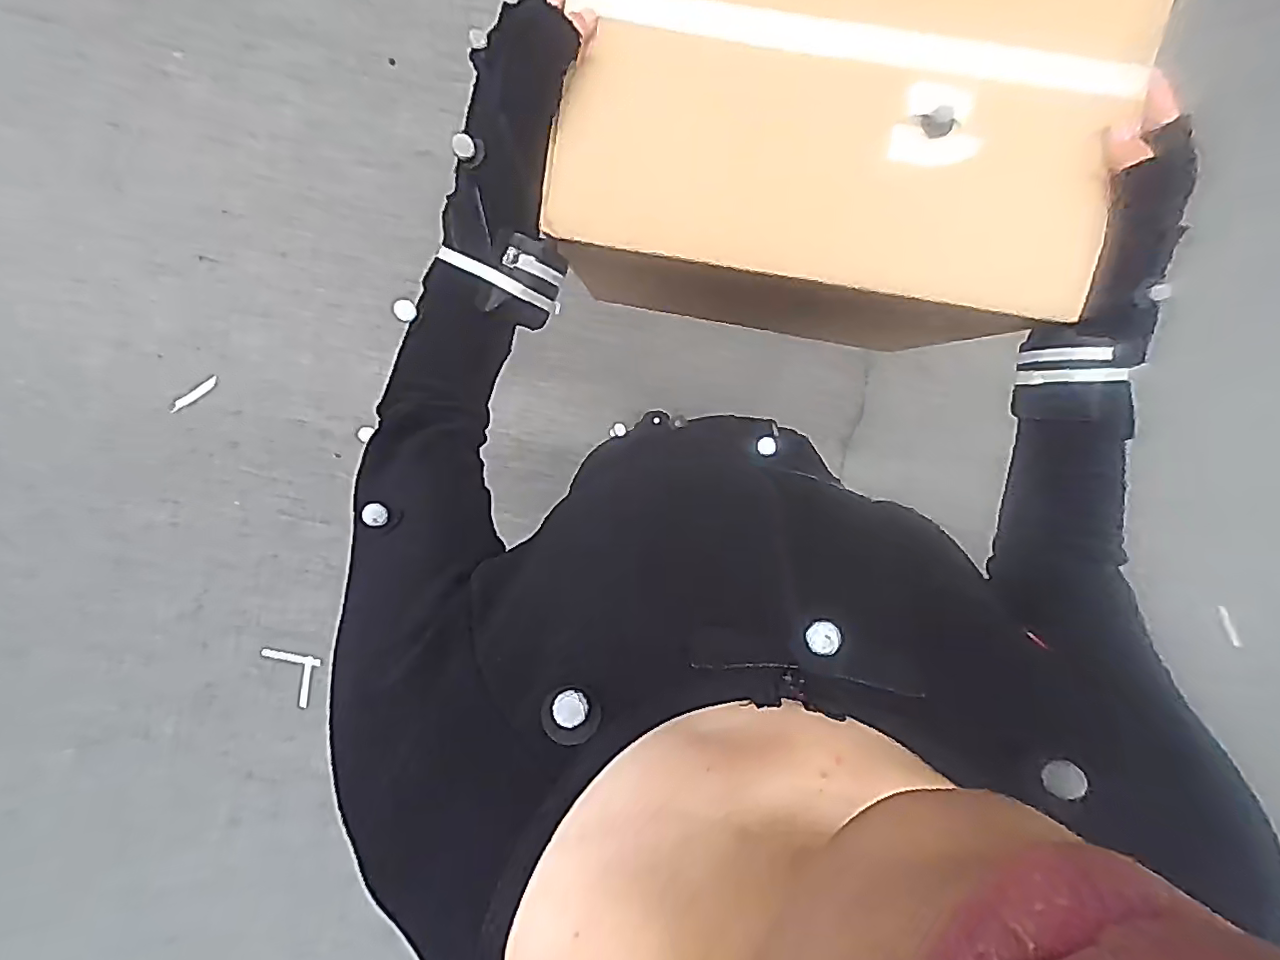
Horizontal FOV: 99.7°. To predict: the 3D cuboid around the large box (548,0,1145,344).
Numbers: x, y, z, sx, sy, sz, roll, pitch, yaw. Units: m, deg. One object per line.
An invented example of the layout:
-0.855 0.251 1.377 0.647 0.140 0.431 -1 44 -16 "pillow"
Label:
0.148 -0.332 0.534 0.408 0.320 0.320 9 99 1 "large box"
